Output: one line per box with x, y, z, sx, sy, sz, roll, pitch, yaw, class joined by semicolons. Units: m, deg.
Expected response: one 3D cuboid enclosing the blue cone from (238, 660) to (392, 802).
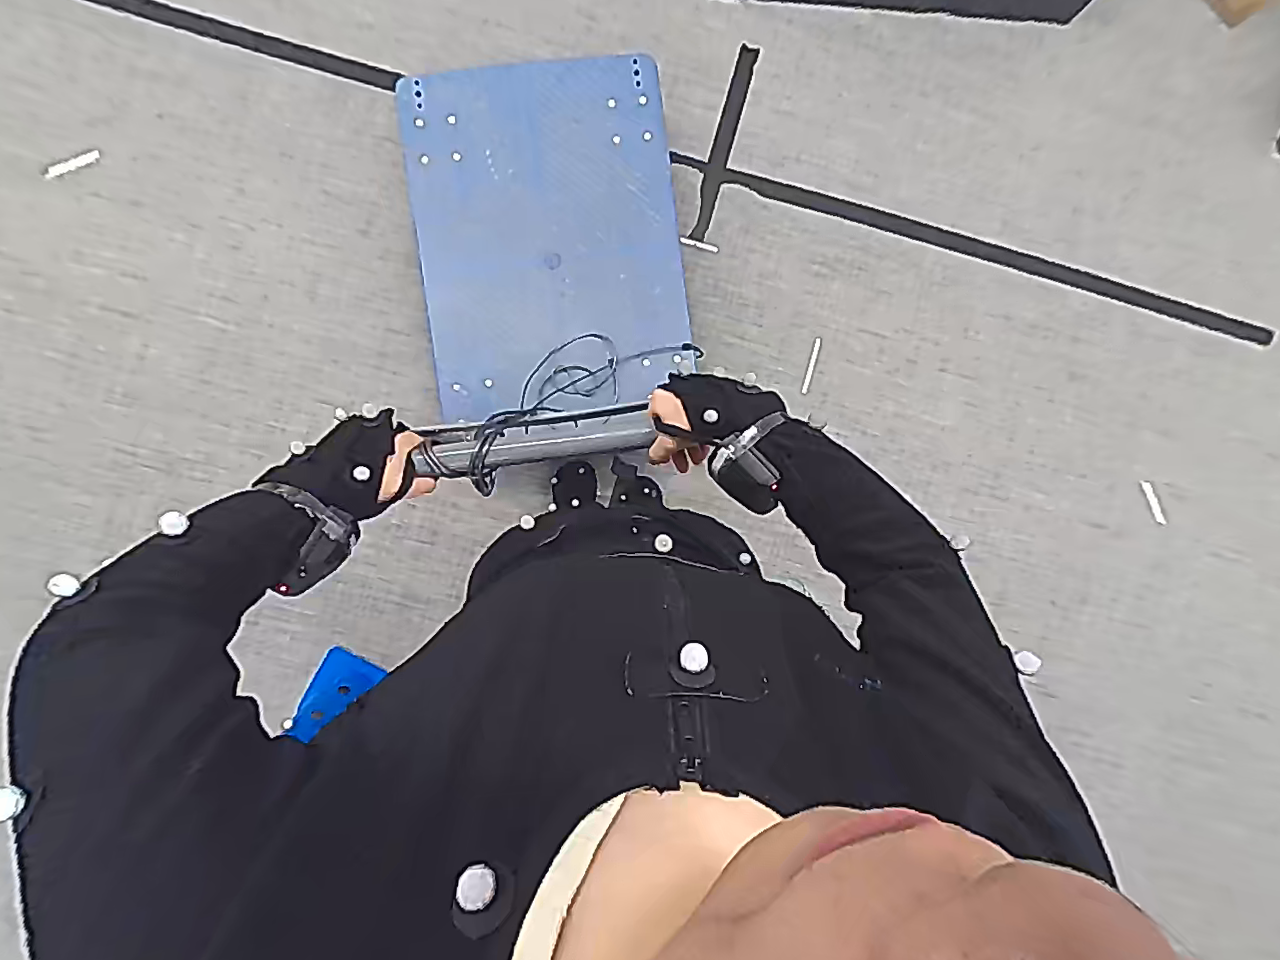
-0.716;0.554;1.165;0.193;0.380;0.192;31;89;-3;blue cone

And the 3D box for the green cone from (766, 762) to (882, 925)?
0.432;0.828;1.218;0.200;0.368;0.202;2;91;-3;green cone
